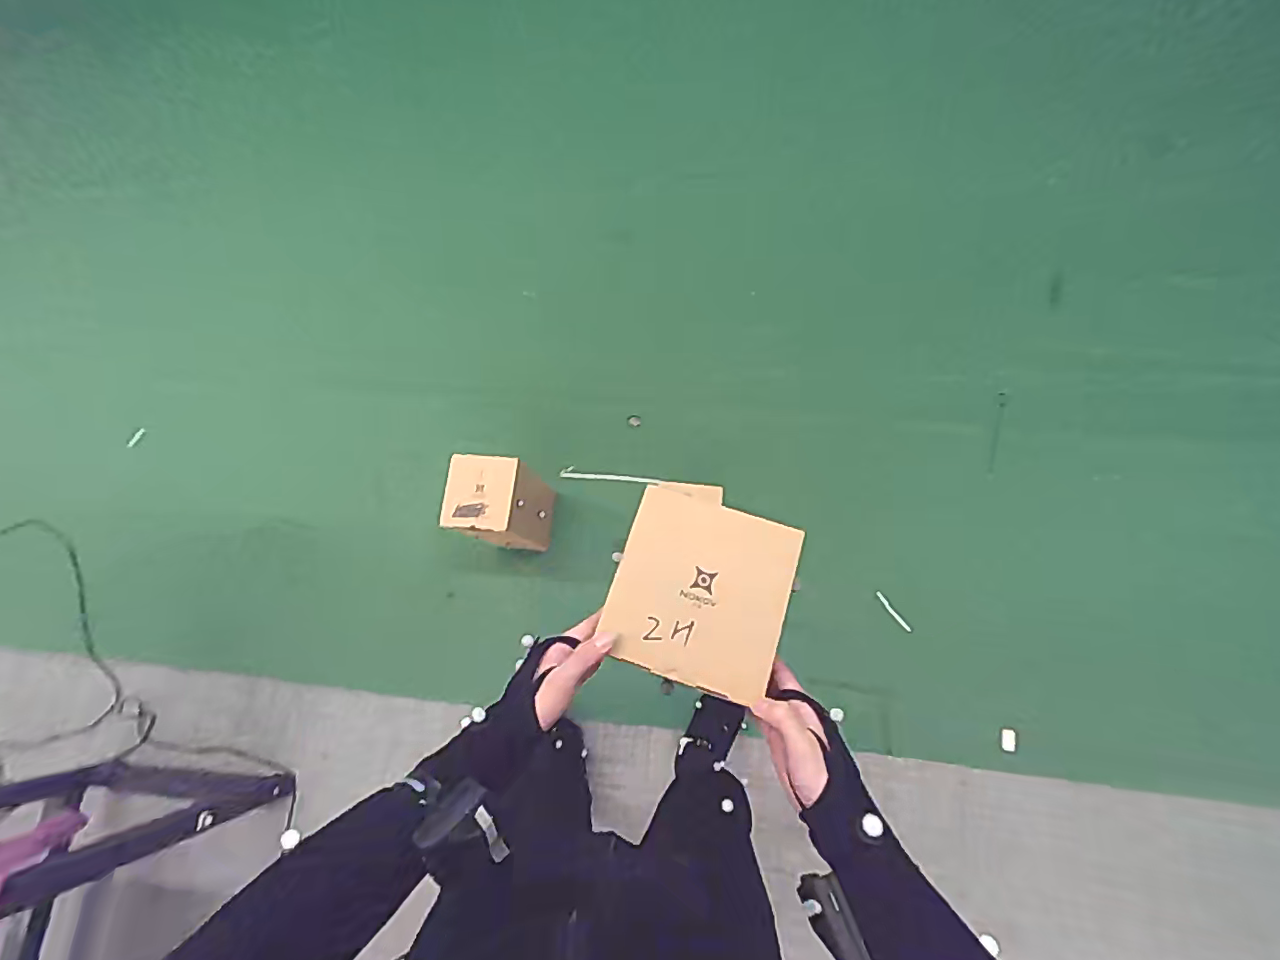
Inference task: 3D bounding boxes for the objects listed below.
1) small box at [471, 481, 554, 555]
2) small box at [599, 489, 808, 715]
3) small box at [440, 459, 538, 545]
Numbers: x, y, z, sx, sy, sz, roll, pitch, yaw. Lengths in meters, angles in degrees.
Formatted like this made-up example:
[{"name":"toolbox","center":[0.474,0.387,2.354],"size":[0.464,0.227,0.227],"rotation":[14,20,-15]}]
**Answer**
[{"name":"small box","center":[-0.340,0.101,1.478],"size":[0.168,0.176,0.179],"rotation":[4,76,8]},{"name":"small box","center":[0.065,0.136,0.592],"size":[0.168,0.176,0.179],"rotation":[17,71,8]},{"name":"small box","center":[-0.359,0.059,1.321],"size":[0.168,0.176,0.179],"rotation":[4,75,8]}]
